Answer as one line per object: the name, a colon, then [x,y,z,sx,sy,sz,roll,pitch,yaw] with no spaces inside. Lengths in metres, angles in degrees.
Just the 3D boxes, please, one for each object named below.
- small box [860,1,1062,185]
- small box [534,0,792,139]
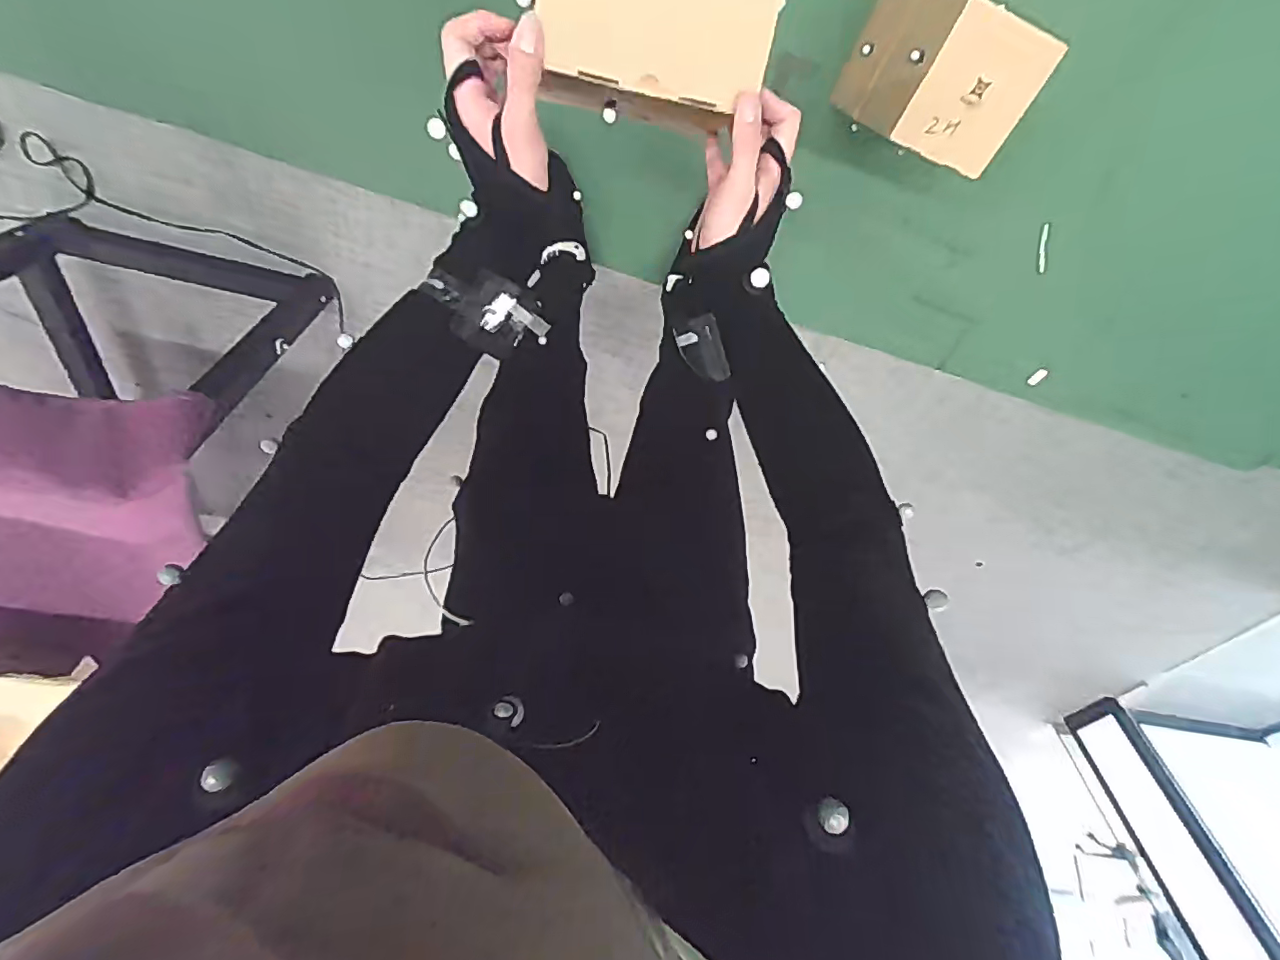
small box: [0.469,-0.592,0.826,0.168,0.176,0.179,14,131,-14]
small box: [0.010,-0.376,0.409,0.168,0.176,0.179,3,120,-14]
